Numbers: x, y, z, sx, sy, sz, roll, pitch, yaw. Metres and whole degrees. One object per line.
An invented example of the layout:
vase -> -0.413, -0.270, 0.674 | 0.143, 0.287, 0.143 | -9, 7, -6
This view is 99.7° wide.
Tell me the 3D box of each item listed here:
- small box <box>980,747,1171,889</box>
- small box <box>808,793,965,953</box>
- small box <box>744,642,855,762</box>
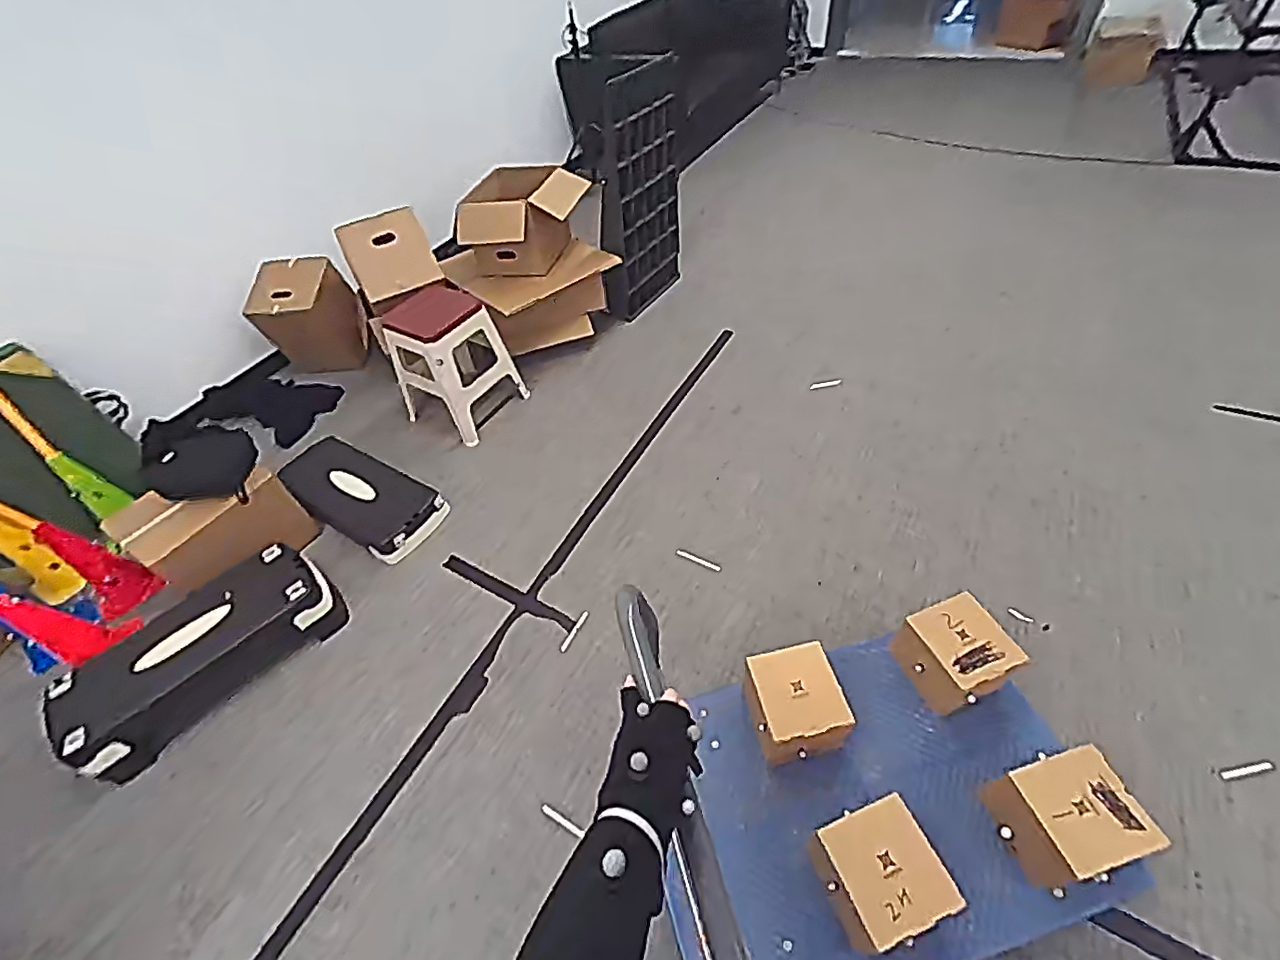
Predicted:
small box -> 0.768, 0.613, 0.979 | 0.179, 0.176, 0.168 | -15, 48, -5
small box -> 0.416, 0.691, 0.951 | 0.168, 0.176, 0.179 | -19, 49, -9
small box -> 0.327, 0.475, 1.155 | 0.168, 0.176, 0.179 | -11, 50, -4
